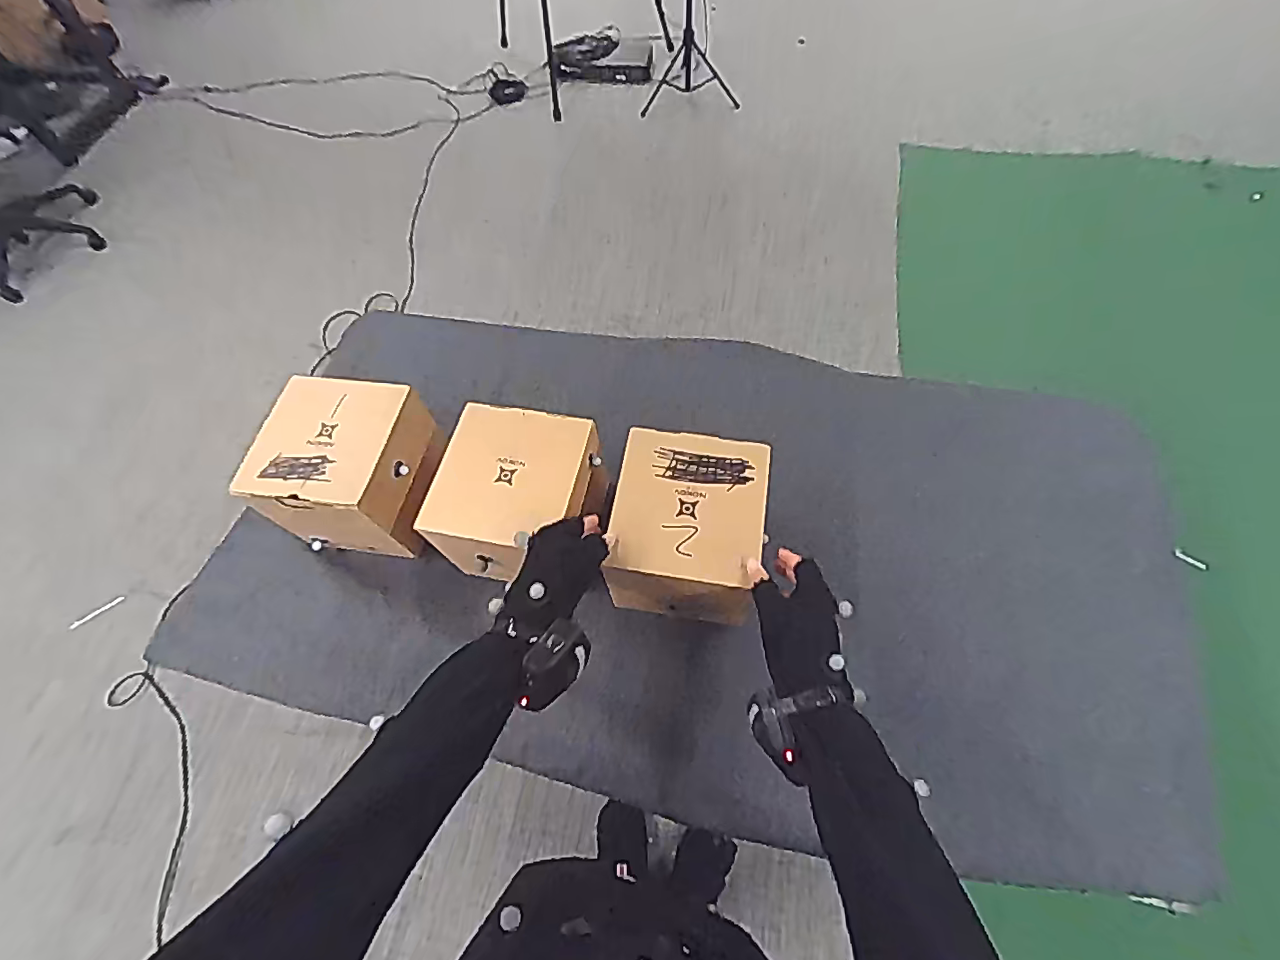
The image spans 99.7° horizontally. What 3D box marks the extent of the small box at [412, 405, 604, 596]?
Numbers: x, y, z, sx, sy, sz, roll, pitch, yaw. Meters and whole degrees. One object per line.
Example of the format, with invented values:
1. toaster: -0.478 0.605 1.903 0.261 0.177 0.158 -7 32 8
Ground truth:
1. small box: -0.149 0.033 0.686 0.168 0.176 0.179 9 62 8

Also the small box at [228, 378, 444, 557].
1. small box: -0.379 -0.010 0.721 0.168 0.176 0.179 6 61 6
